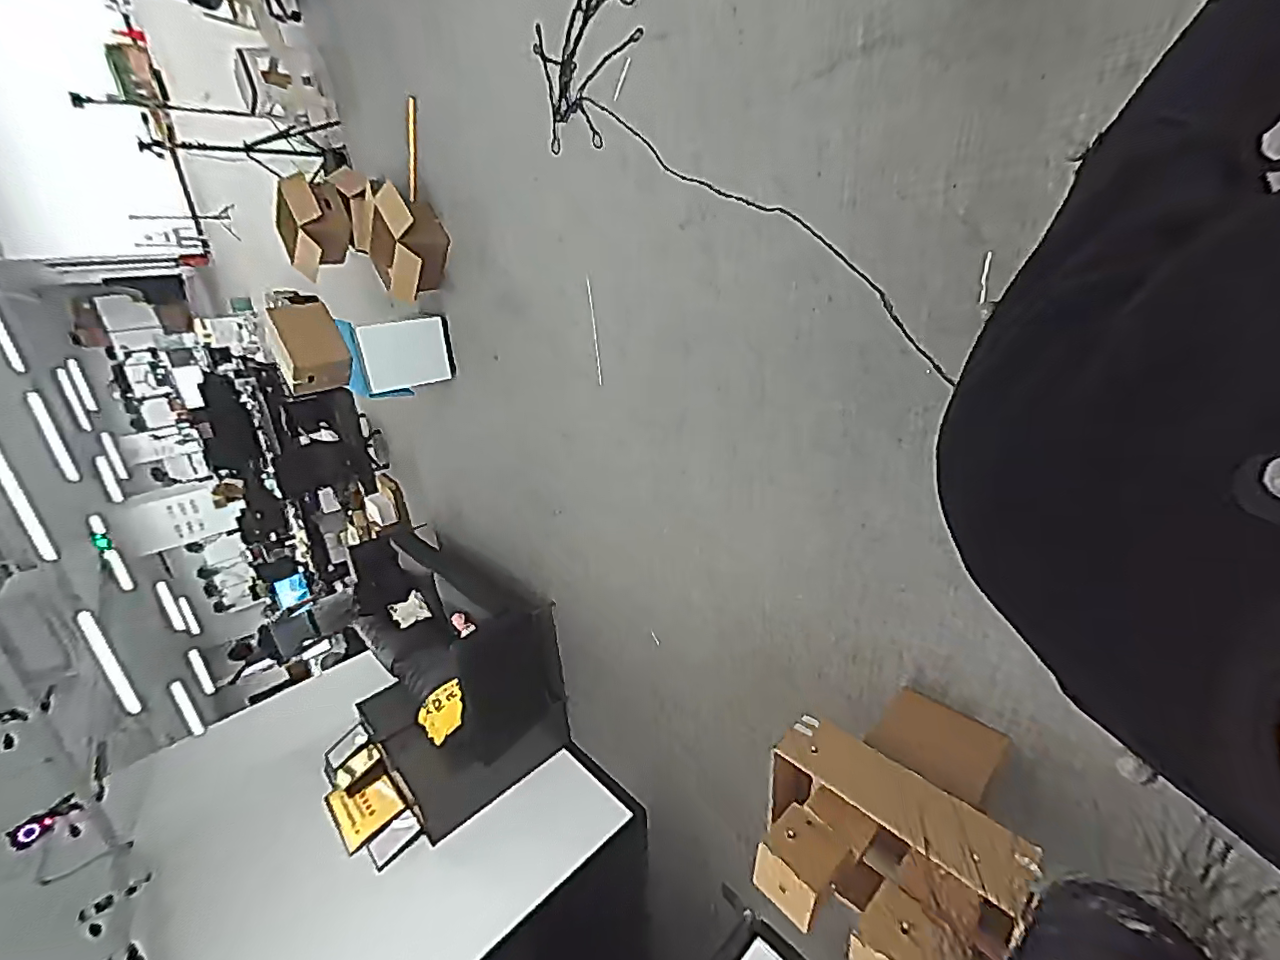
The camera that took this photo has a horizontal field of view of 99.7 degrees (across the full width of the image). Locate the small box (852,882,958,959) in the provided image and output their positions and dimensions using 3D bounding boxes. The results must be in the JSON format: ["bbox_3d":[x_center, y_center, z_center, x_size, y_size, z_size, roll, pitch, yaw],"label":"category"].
[{"bbox_3d":[0.601,1.078,1.229,0.168,0.176,0.179,16,119,46],"label":"small box"}]

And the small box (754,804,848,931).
[{"bbox_3d":[0.421,0.999,1.410,0.168,0.176,0.179,26,126,42],"label":"small box"}]

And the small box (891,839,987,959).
[{"bbox_3d":[0.728,1.045,1.328,0.168,0.176,0.179,15,118,45],"label":"small box"}]
